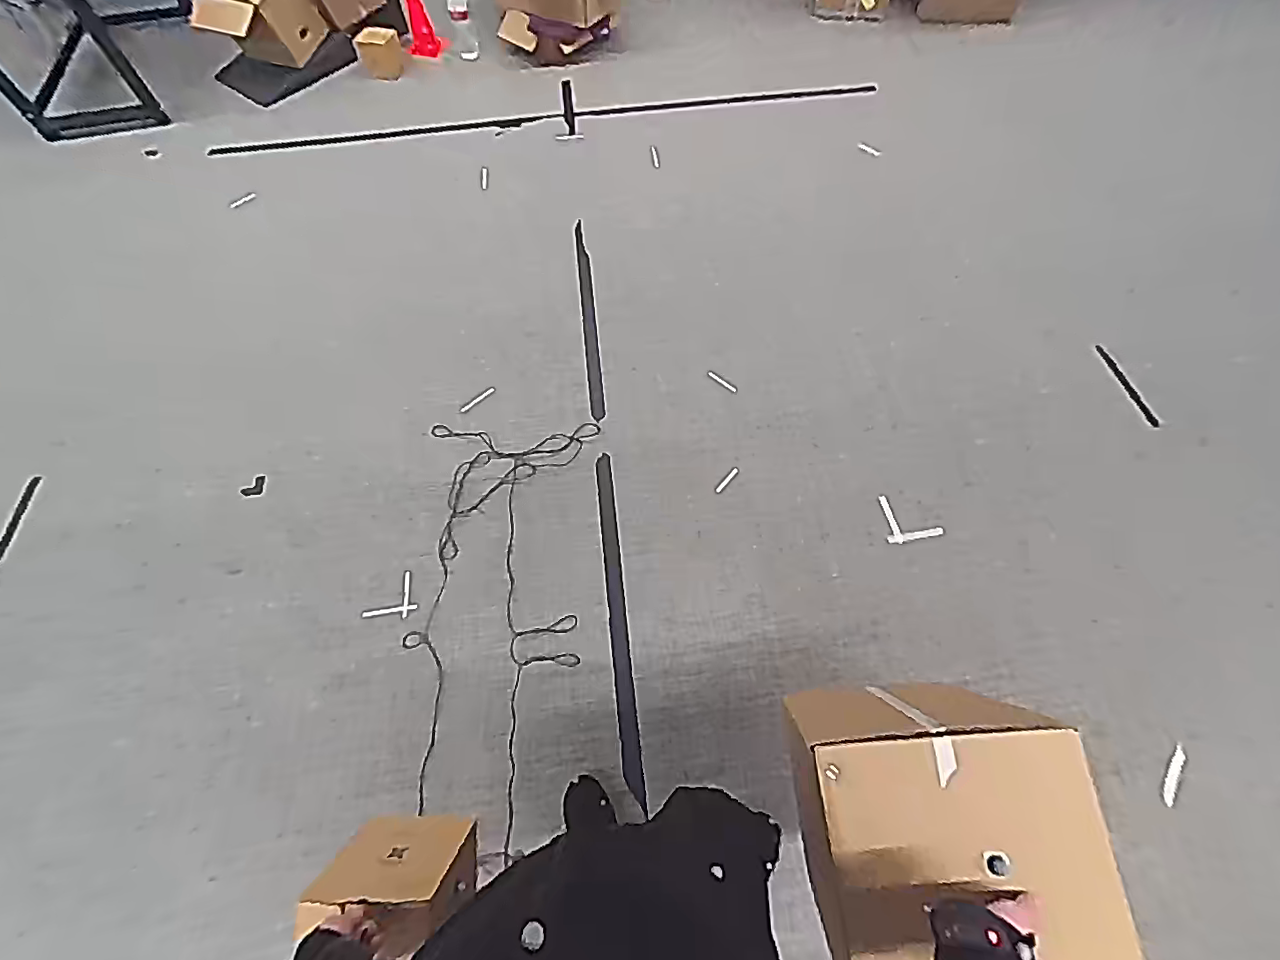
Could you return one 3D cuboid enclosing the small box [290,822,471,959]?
[{"bbox_3d":[-0.334,0.596,0.724,0.168,0.179,0.176,1,88,1],"label":"small box"}]
